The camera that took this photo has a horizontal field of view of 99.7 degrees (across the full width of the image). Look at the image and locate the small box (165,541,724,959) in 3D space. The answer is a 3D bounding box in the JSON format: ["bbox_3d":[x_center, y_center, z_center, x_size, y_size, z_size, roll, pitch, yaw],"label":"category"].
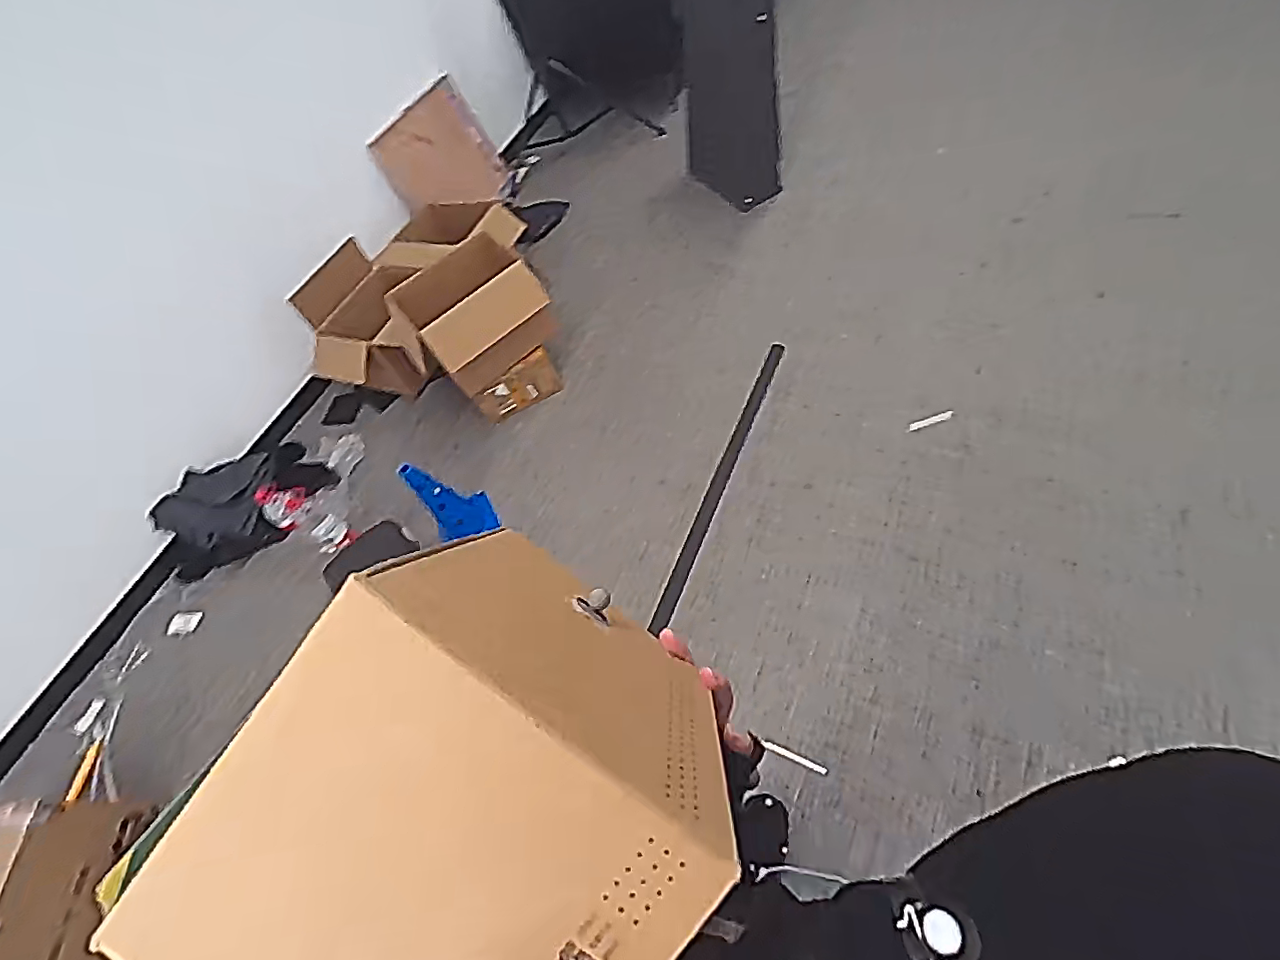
[{"bbox_3d":[-0.071,0.155,0.289,0.176,0.179,0.168,36,93,4],"label":"small box"}]
